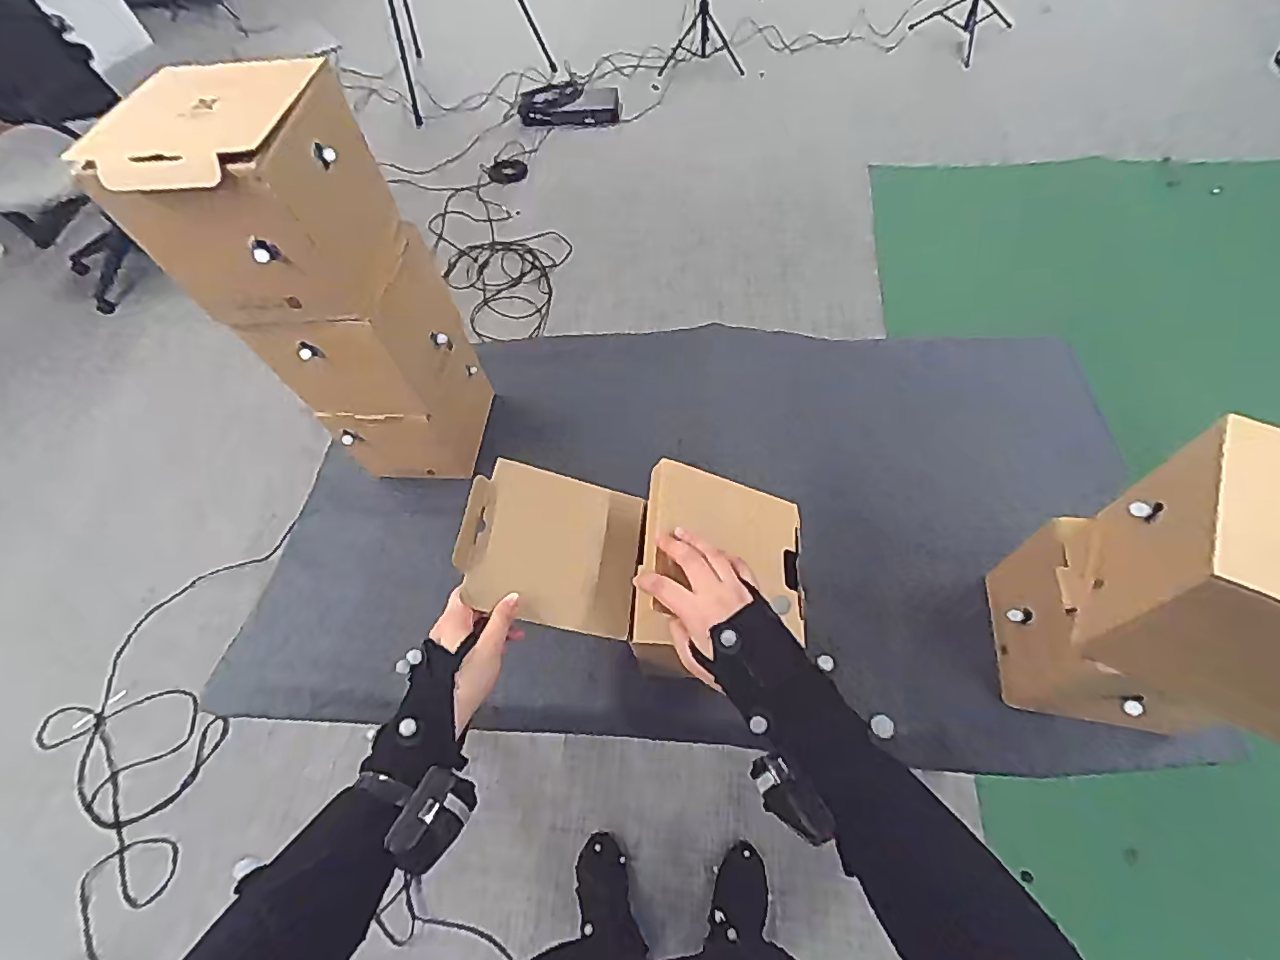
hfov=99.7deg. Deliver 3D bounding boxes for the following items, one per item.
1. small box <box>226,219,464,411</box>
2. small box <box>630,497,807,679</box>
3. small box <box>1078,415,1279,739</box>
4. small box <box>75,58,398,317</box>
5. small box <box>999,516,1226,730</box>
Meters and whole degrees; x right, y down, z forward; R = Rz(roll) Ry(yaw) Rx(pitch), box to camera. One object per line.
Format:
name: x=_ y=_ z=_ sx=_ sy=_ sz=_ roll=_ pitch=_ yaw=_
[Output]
small box: x=-0.351 y=-0.201 z=0.683 sx=0.179 sy=0.176 sz=0.168 roll=2 pitch=62 yaw=6
small box: x=0.092 y=0.133 z=0.641 sx=0.179 sy=0.176 sz=0.168 roll=1 pitch=60 yaw=9
small box: x=0.504 y=0.085 z=0.434 sx=0.179 sy=0.176 sz=0.168 roll=27 pitch=63 yaw=19
small box: x=-0.371 y=-0.280 z=0.542 sx=0.168 sy=0.176 sz=0.179 roll=-1 pitch=60 yaw=4
small box: x=0.516 y=0.158 z=0.581 sx=0.179 sy=0.176 sz=0.168 roll=7 pitch=58 yaw=10
